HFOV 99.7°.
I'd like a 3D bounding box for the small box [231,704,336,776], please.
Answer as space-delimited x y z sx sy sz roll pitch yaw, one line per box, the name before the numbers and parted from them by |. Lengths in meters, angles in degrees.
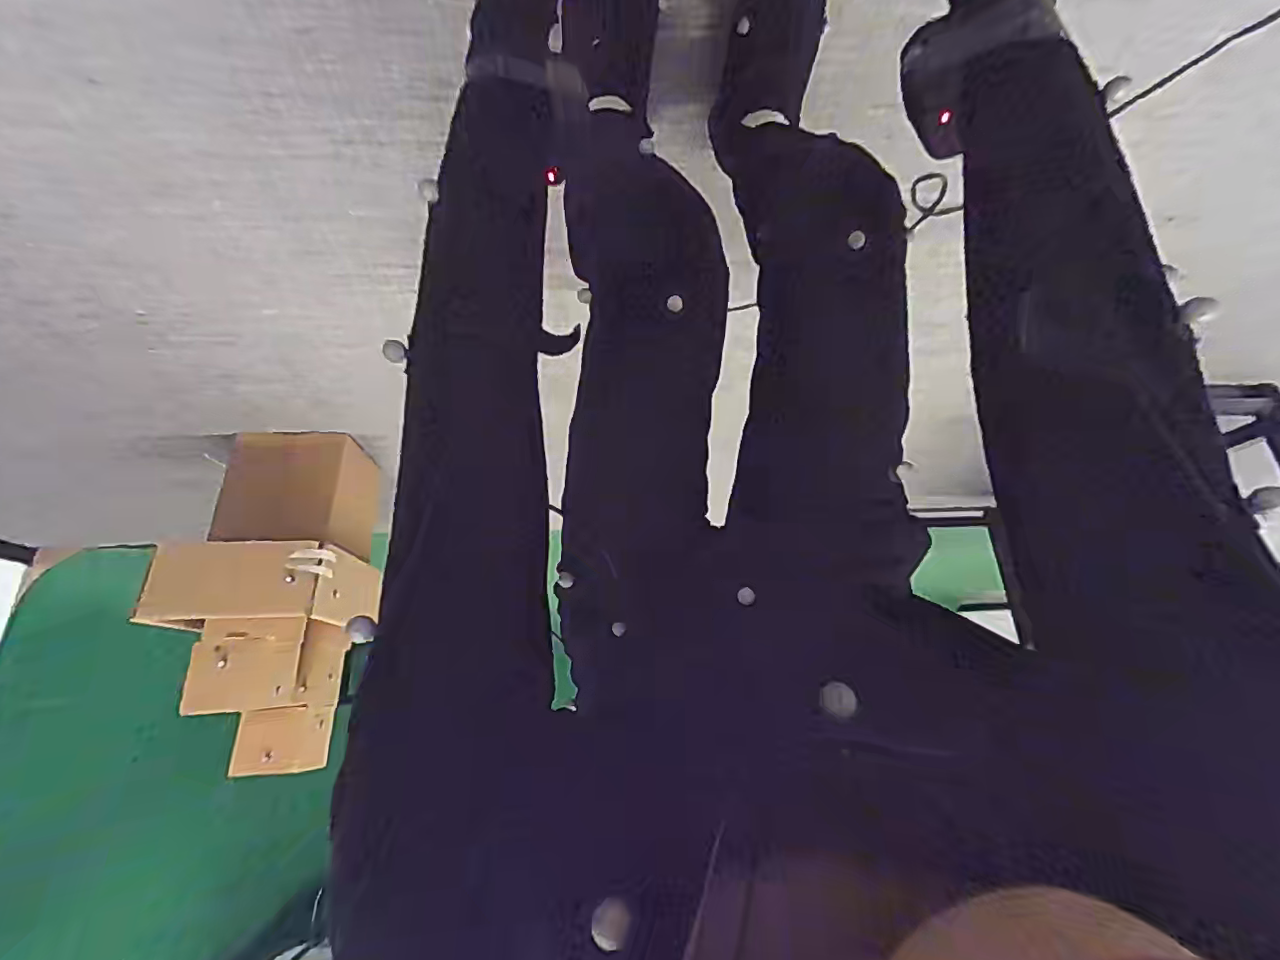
small box | -0.986 0.725 1.514 0.179 0.176 0.168 -1 157 -3
